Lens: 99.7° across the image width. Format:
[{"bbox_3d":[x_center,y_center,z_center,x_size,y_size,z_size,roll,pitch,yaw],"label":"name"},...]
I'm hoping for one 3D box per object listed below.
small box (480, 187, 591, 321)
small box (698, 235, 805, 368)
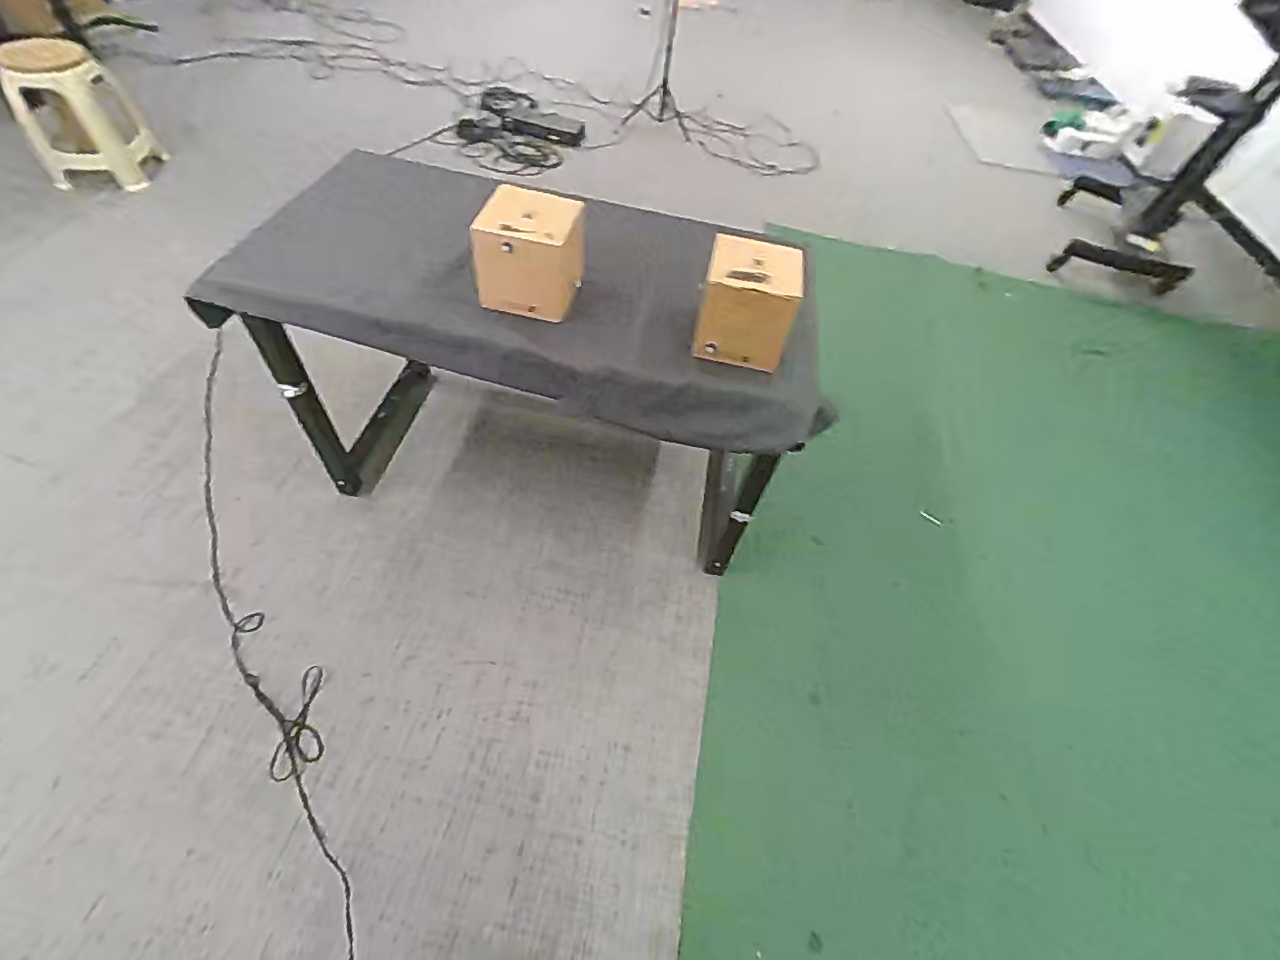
[{"bbox_3d":[-0.202,-0.446,1.074,0.168,0.176,0.179,12,52,2],"label":"small box"},{"bbox_3d":[0.213,-0.343,1.052,0.168,0.176,0.179,13,51,3],"label":"small box"}]
